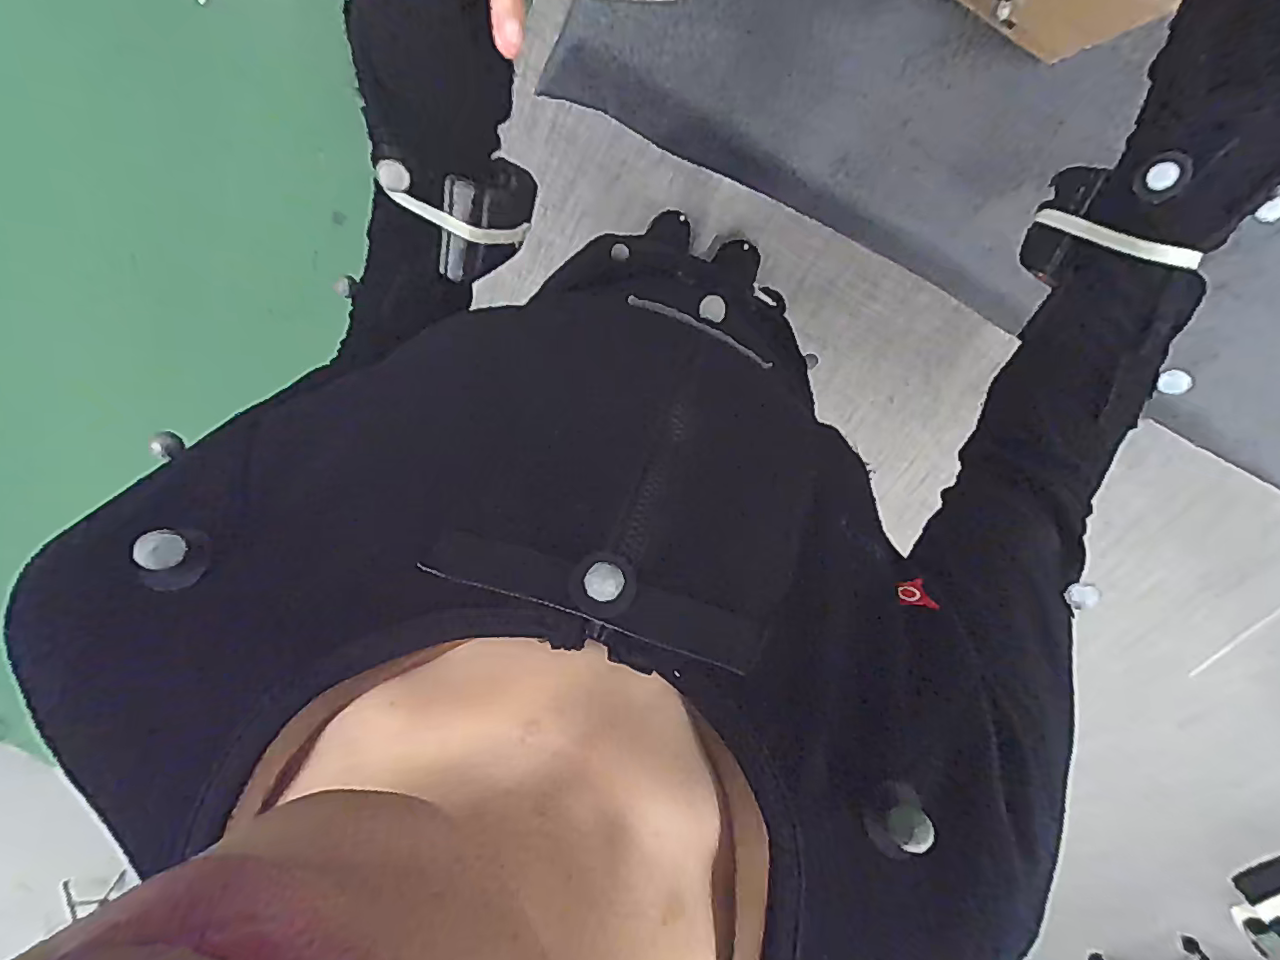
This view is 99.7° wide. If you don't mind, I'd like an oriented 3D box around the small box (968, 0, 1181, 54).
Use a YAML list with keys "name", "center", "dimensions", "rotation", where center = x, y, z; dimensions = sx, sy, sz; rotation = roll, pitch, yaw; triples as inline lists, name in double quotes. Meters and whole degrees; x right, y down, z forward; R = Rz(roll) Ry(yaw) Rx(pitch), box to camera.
- name: "small box"
  center: [0.361, -0.475, 0.403]
  dimensions: [0.168, 0.176, 0.179]
  rotation: [27, 115, -7]
